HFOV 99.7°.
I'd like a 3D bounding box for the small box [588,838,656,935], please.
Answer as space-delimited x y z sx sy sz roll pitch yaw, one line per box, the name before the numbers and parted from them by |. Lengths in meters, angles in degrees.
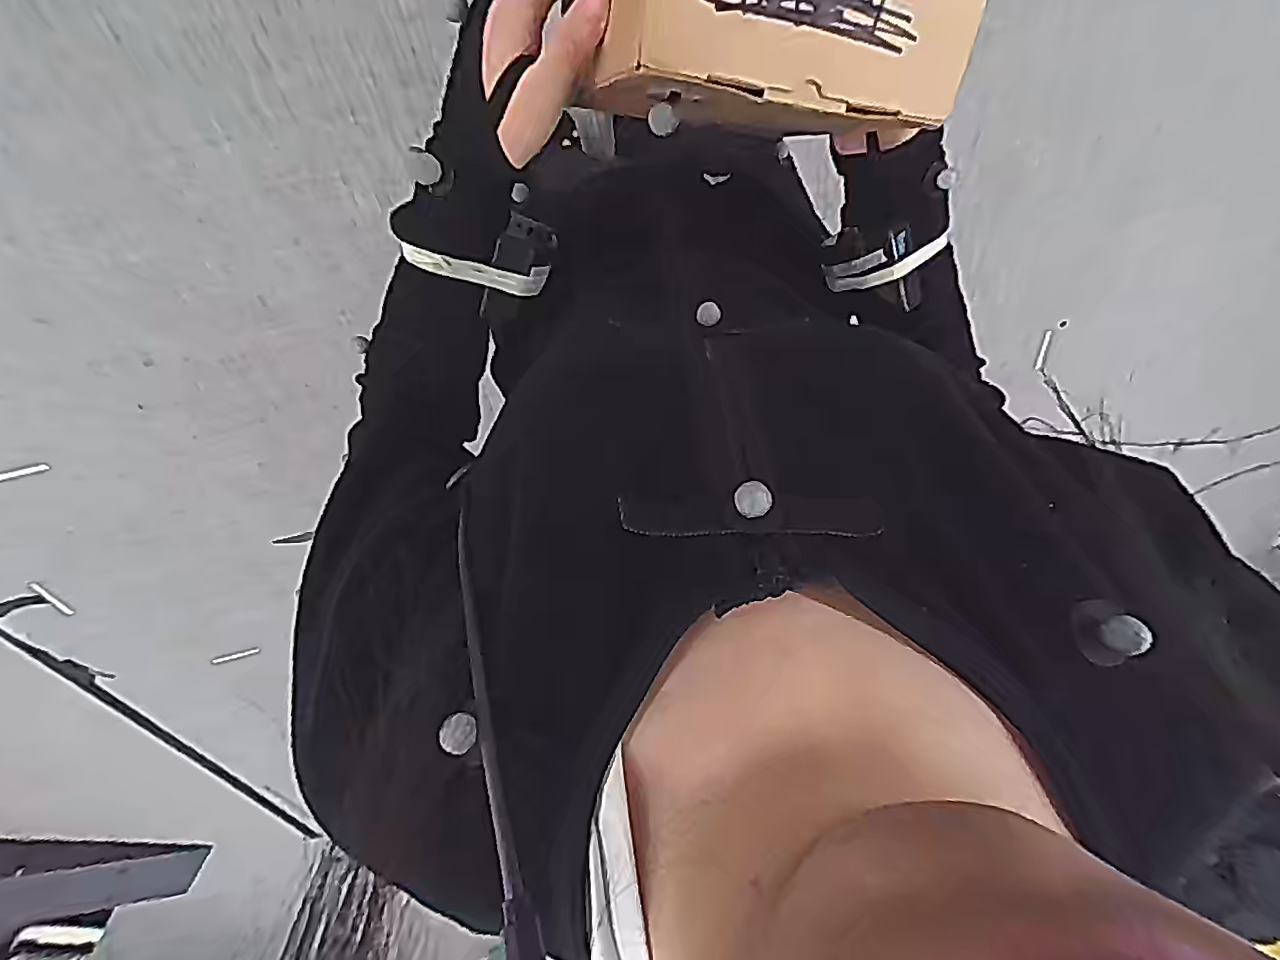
small box | -0.053 1.182 1.577 0.168 0.176 0.179 -11 128 -8
